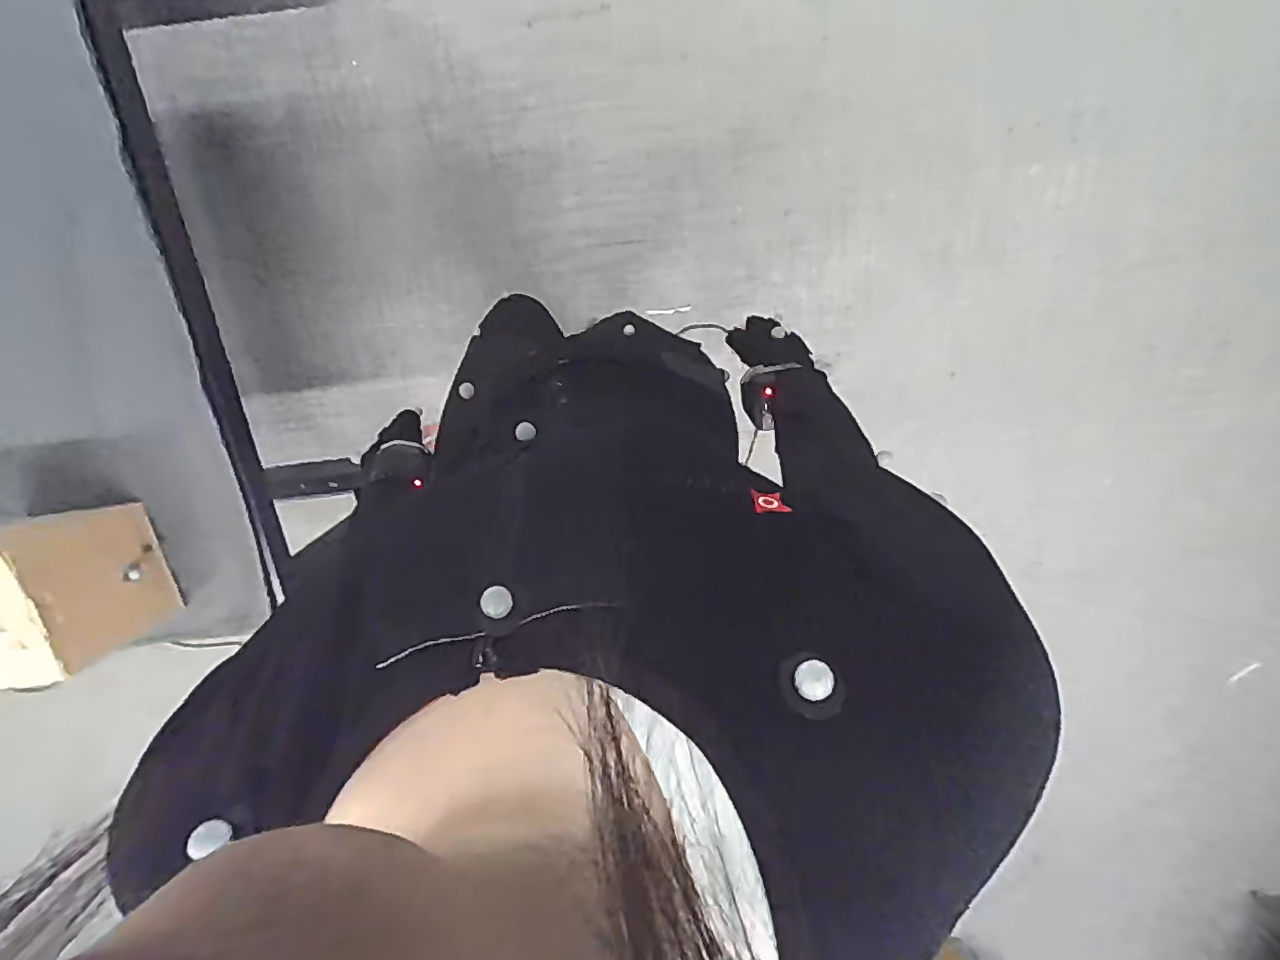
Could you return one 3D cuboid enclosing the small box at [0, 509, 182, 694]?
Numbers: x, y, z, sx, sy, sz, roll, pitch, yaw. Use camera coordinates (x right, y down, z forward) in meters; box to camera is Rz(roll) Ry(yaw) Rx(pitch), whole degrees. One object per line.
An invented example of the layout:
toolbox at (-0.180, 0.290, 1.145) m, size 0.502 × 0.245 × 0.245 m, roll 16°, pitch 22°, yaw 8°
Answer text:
small box at (-0.744, 0.146, 0.677) m, size 0.179 × 0.176 × 0.168 m, roll -8°, pitch 106°, yaw 3°
